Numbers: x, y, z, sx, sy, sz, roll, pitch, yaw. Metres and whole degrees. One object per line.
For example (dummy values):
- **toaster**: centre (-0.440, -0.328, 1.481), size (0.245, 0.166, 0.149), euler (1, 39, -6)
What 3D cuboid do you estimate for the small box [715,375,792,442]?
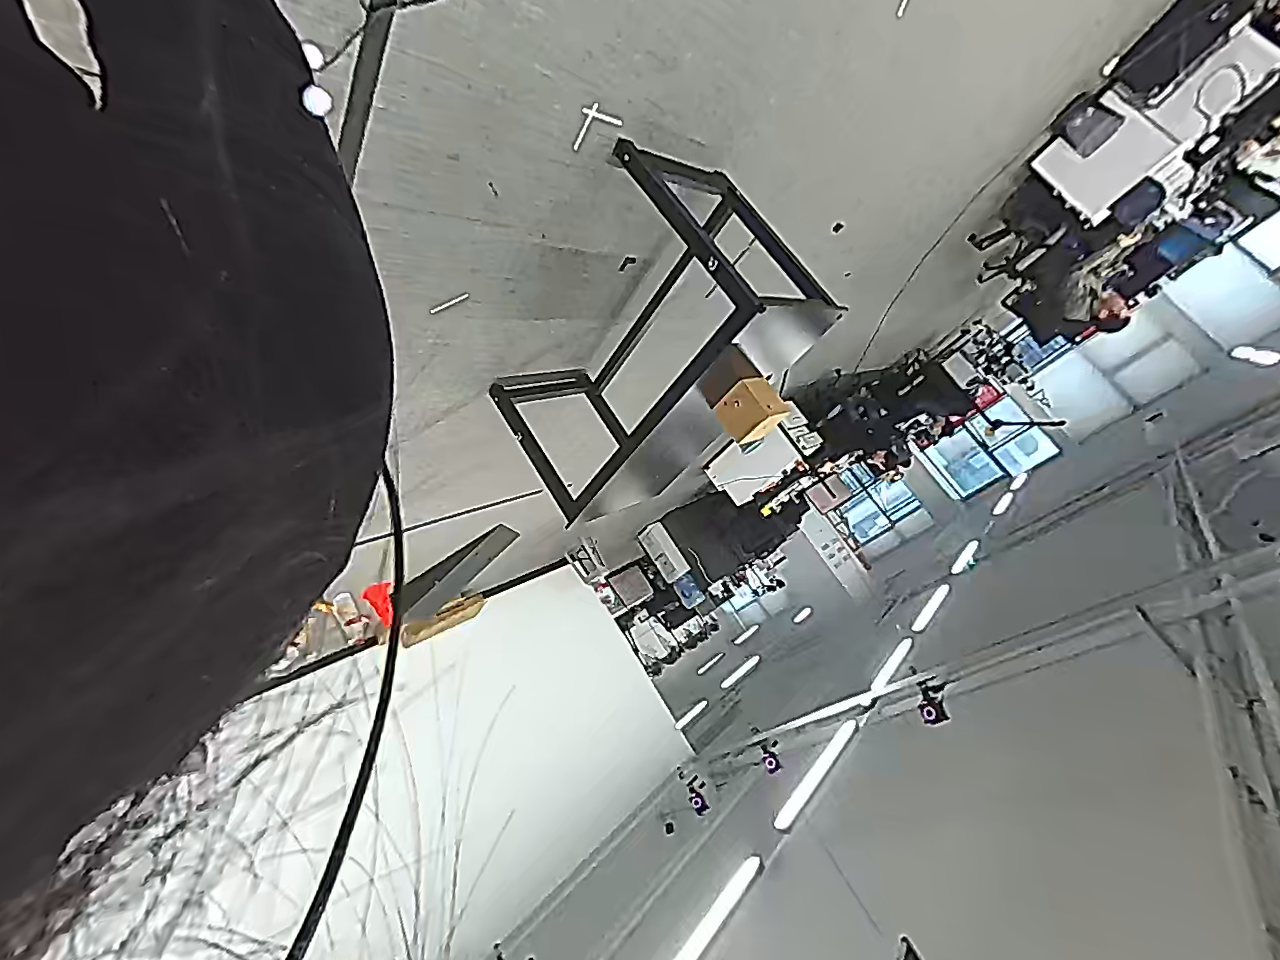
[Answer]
- **small box**: centre (0.406, -0.264, 1.949), size (0.179, 0.176, 0.168), euler (-17, 157, -47)
